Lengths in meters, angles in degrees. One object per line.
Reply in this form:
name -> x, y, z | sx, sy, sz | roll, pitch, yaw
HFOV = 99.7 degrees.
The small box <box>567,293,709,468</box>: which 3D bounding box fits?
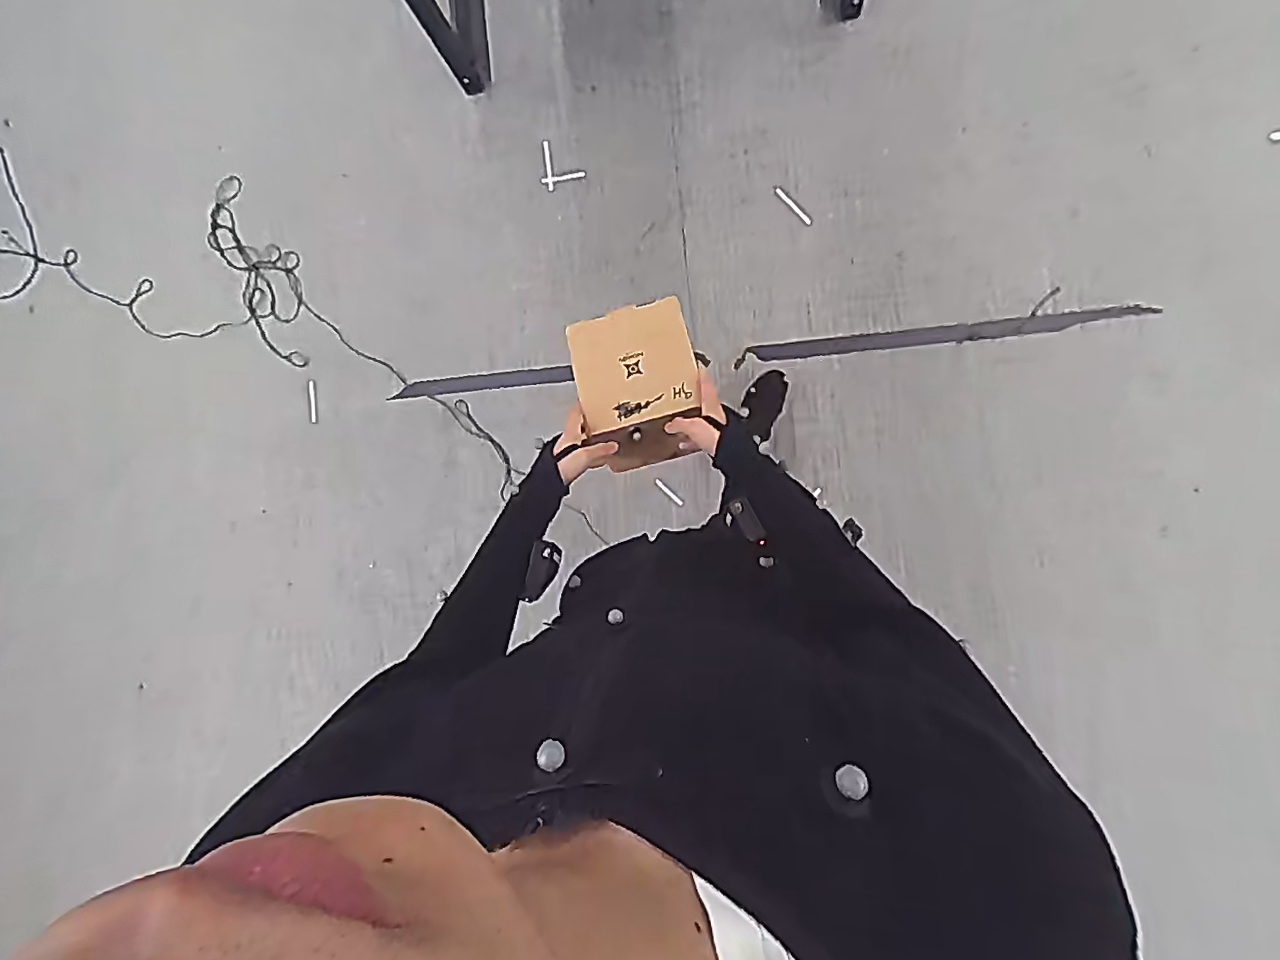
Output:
small box -> 0.003, -0.139, 0.804 | 0.168, 0.176, 0.179 | -15, 72, 5
